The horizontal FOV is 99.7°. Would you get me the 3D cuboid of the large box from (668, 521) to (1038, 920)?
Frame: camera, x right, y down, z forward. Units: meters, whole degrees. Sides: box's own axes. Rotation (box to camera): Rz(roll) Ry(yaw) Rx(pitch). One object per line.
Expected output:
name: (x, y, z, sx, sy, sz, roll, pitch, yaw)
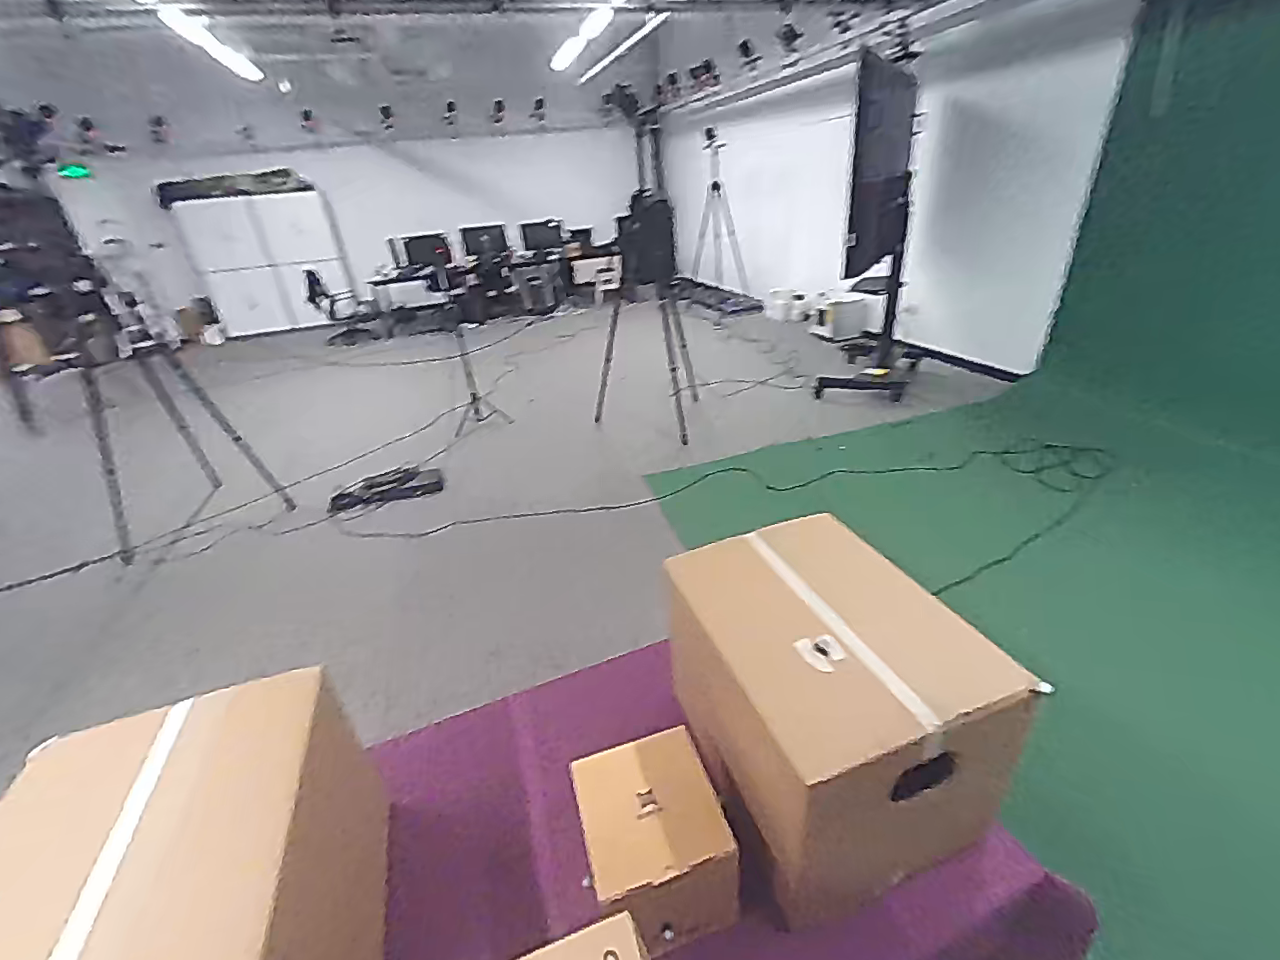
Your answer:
large box: (0.259, 0.318, 0.819, 0.320, 0.320, 0.408, -13, 30, -15)
